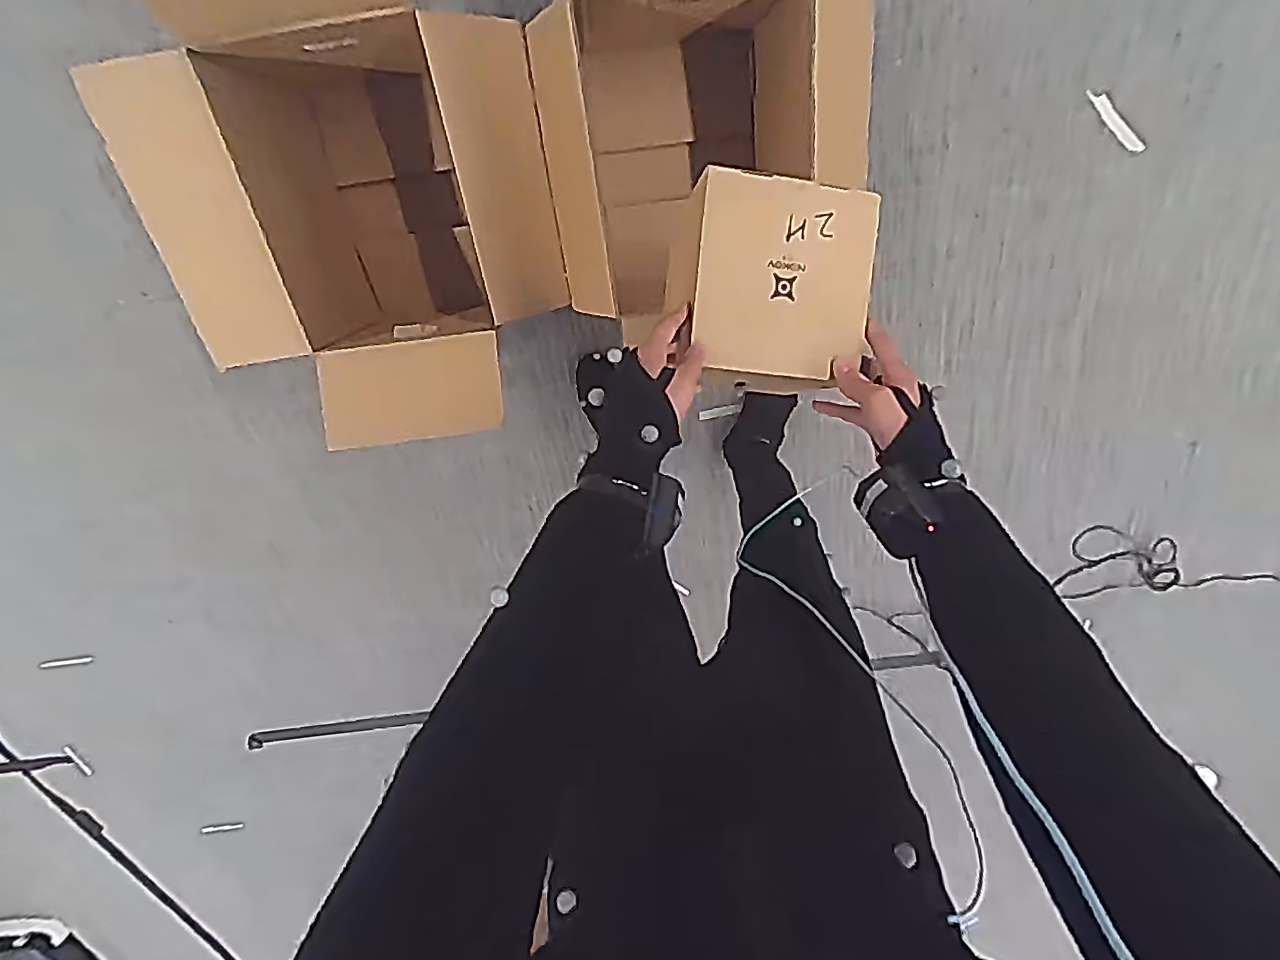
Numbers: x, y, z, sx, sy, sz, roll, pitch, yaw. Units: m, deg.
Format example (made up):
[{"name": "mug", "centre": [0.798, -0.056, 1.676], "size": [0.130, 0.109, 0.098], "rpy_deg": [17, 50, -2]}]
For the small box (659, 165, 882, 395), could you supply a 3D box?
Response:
[{"name": "small box", "centre": [0.118, -0.186, 0.561], "size": [0.168, 0.176, 0.179], "rpy_deg": [5, 95, -9]}]
